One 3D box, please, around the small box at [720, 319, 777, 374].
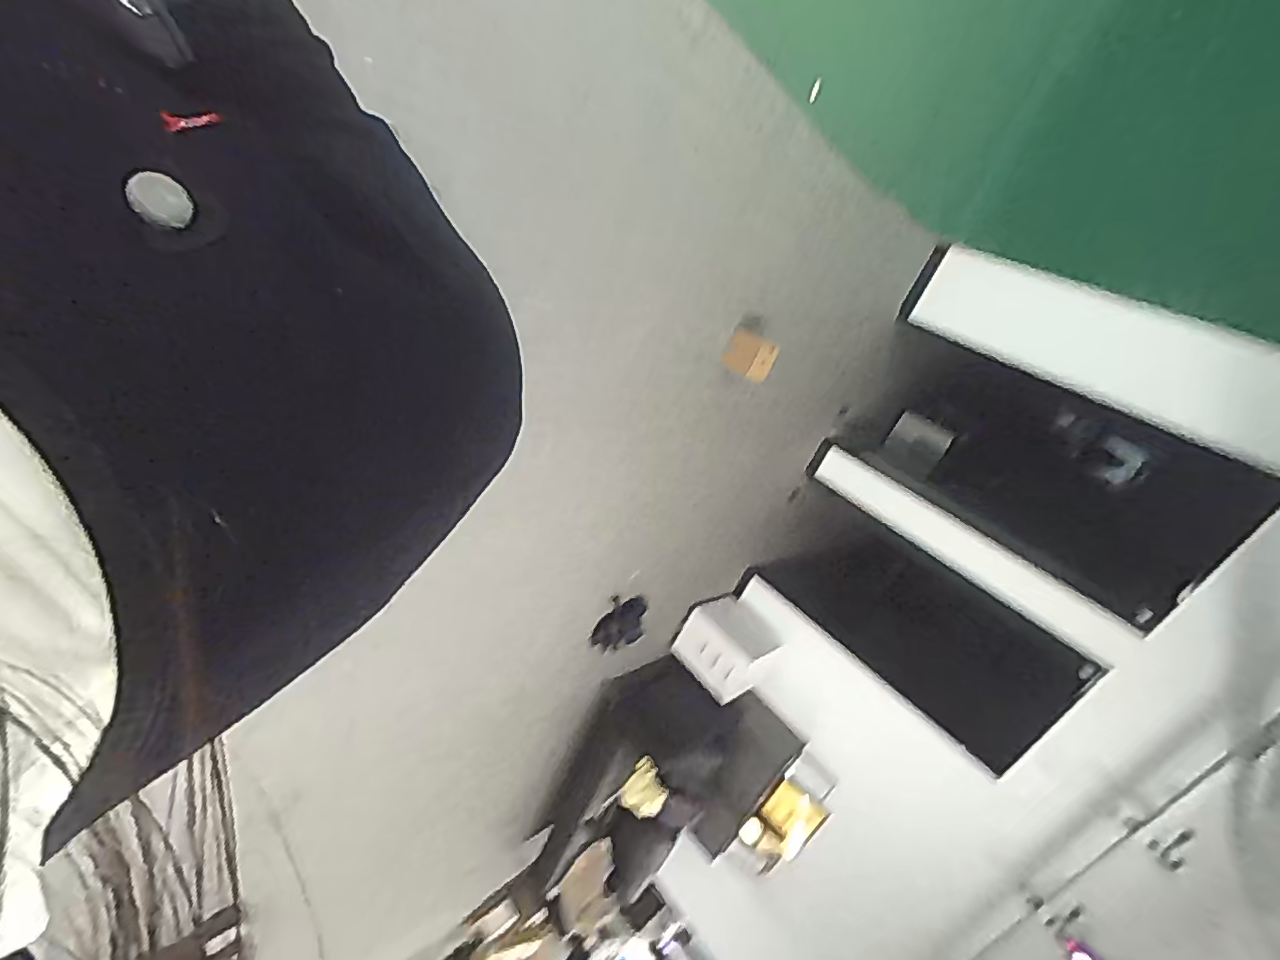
[{"bbox_3d":[0.495,-0.616,2.498,0.168,0.176,0.179,-1,124,-50],"label":"small box"}]
